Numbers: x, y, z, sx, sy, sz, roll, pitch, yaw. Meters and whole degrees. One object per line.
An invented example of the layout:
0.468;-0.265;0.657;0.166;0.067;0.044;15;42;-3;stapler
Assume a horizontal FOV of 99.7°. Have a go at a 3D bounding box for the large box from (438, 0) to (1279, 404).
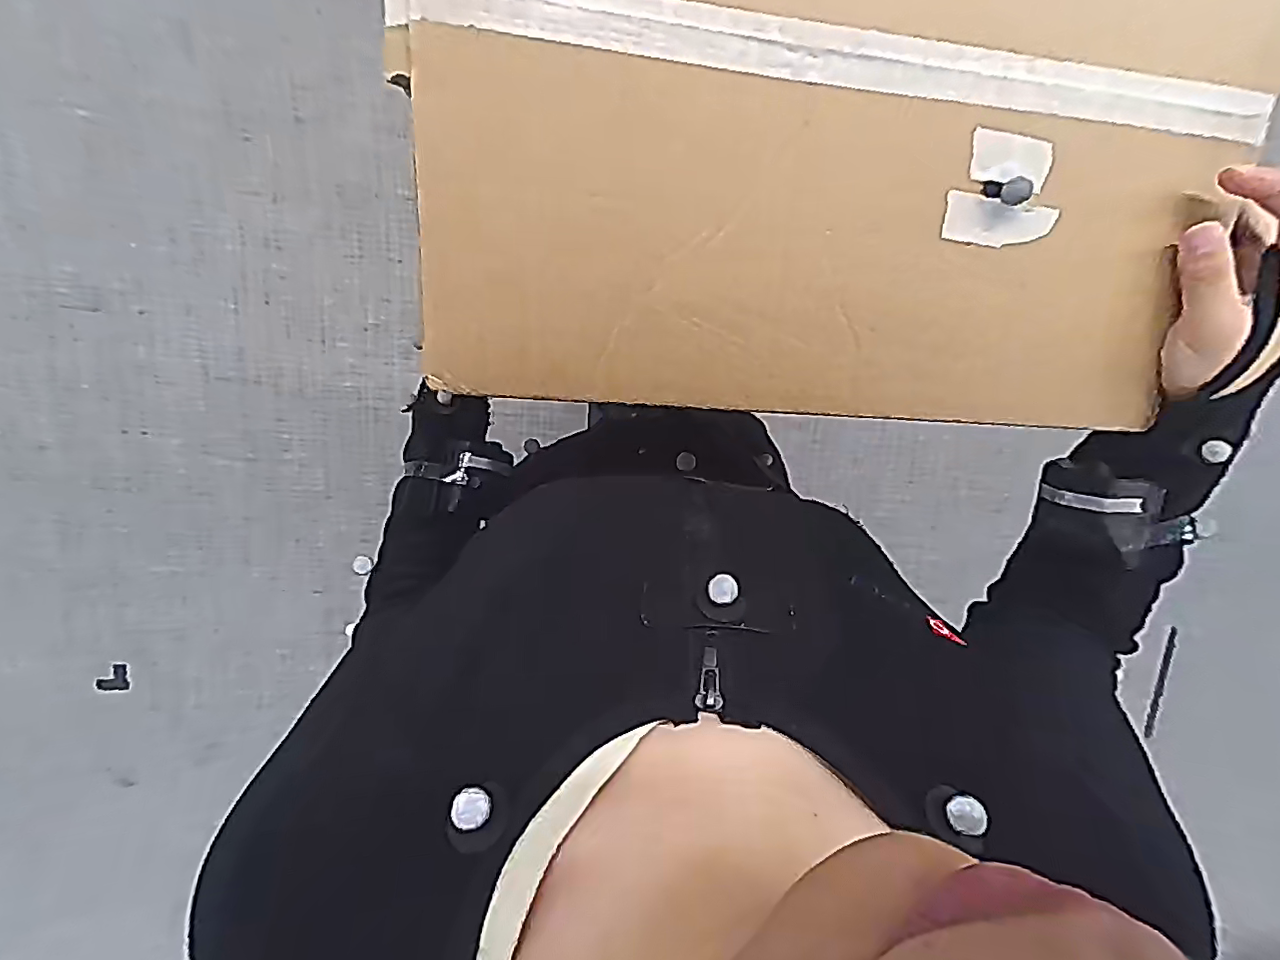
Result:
0.088;-0.238;0.388;0.408;0.320;0.320;1;109;-10;large box
